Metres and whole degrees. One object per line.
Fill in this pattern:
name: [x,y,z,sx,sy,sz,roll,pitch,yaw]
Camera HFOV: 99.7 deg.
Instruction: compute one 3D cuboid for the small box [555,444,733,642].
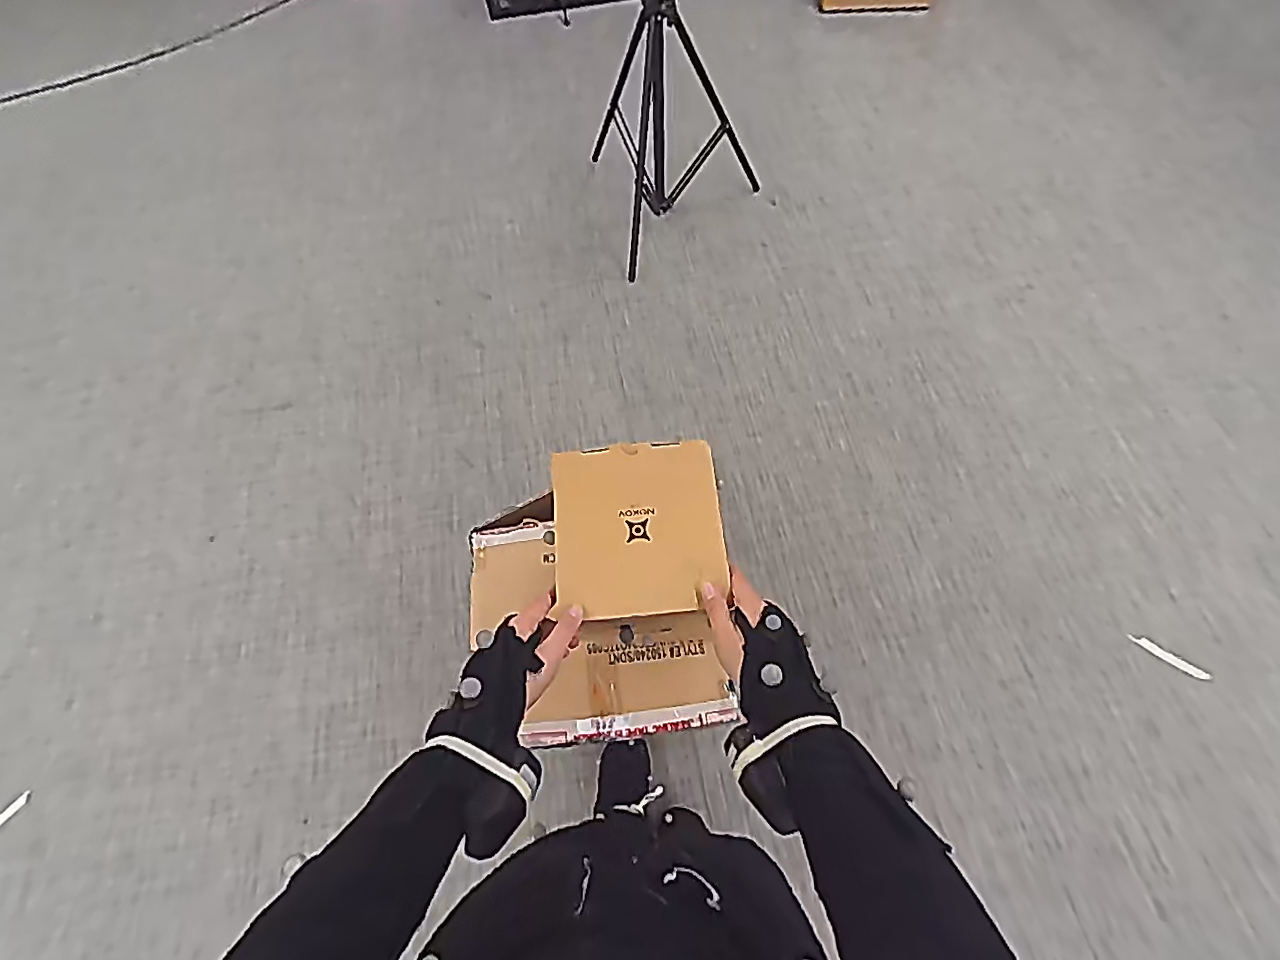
small box: [0.003,0.080,0.602,0.168,0.176,0.179,-6,66,0]
